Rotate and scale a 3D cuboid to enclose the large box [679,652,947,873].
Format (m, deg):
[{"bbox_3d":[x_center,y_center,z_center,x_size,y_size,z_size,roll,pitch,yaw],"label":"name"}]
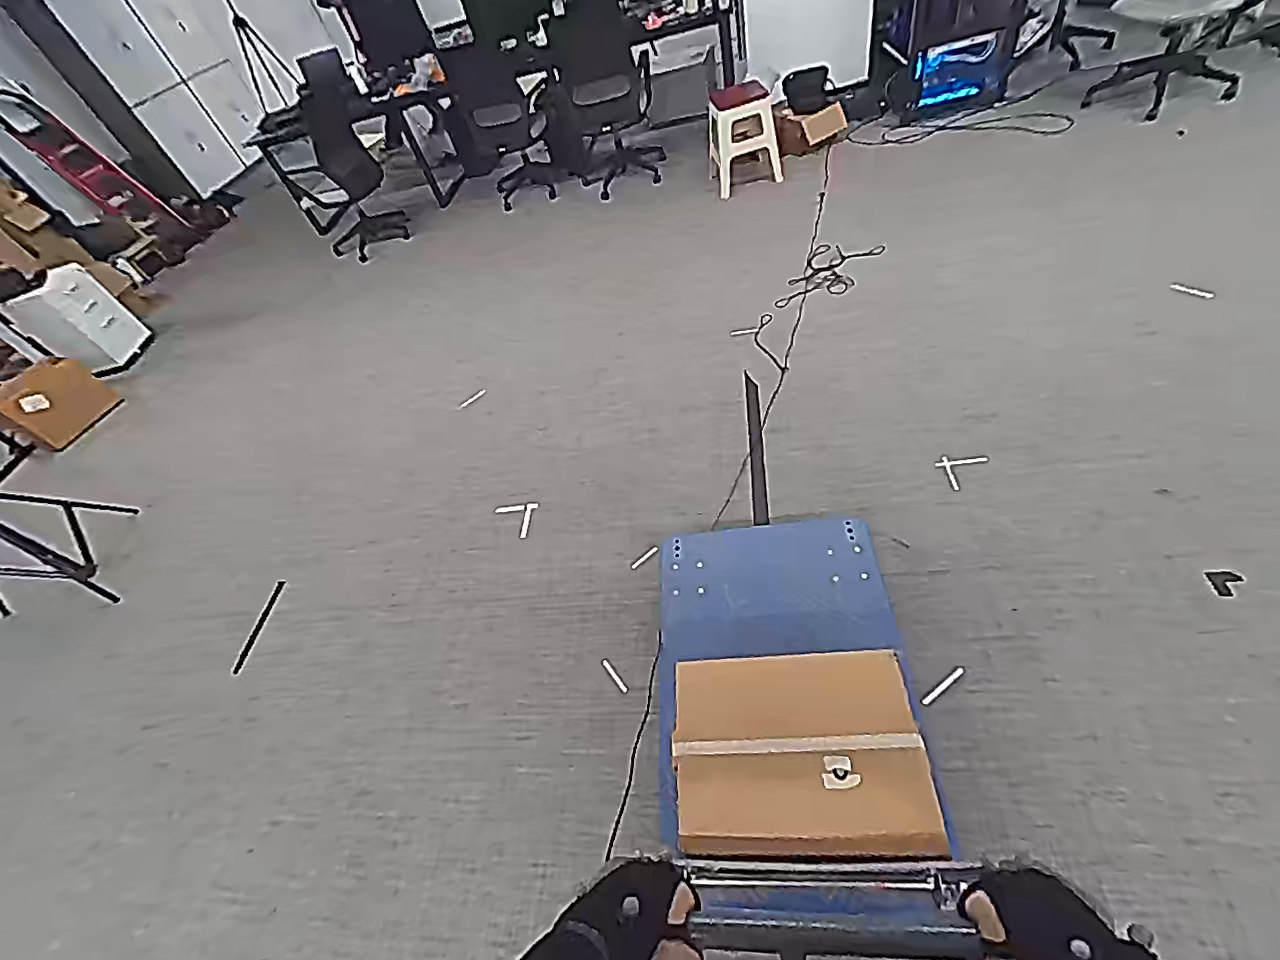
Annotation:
[{"bbox_3d":[0.300,0.554,1.046,0.408,0.320,0.320,-7,50,10],"label":"large box"}]
